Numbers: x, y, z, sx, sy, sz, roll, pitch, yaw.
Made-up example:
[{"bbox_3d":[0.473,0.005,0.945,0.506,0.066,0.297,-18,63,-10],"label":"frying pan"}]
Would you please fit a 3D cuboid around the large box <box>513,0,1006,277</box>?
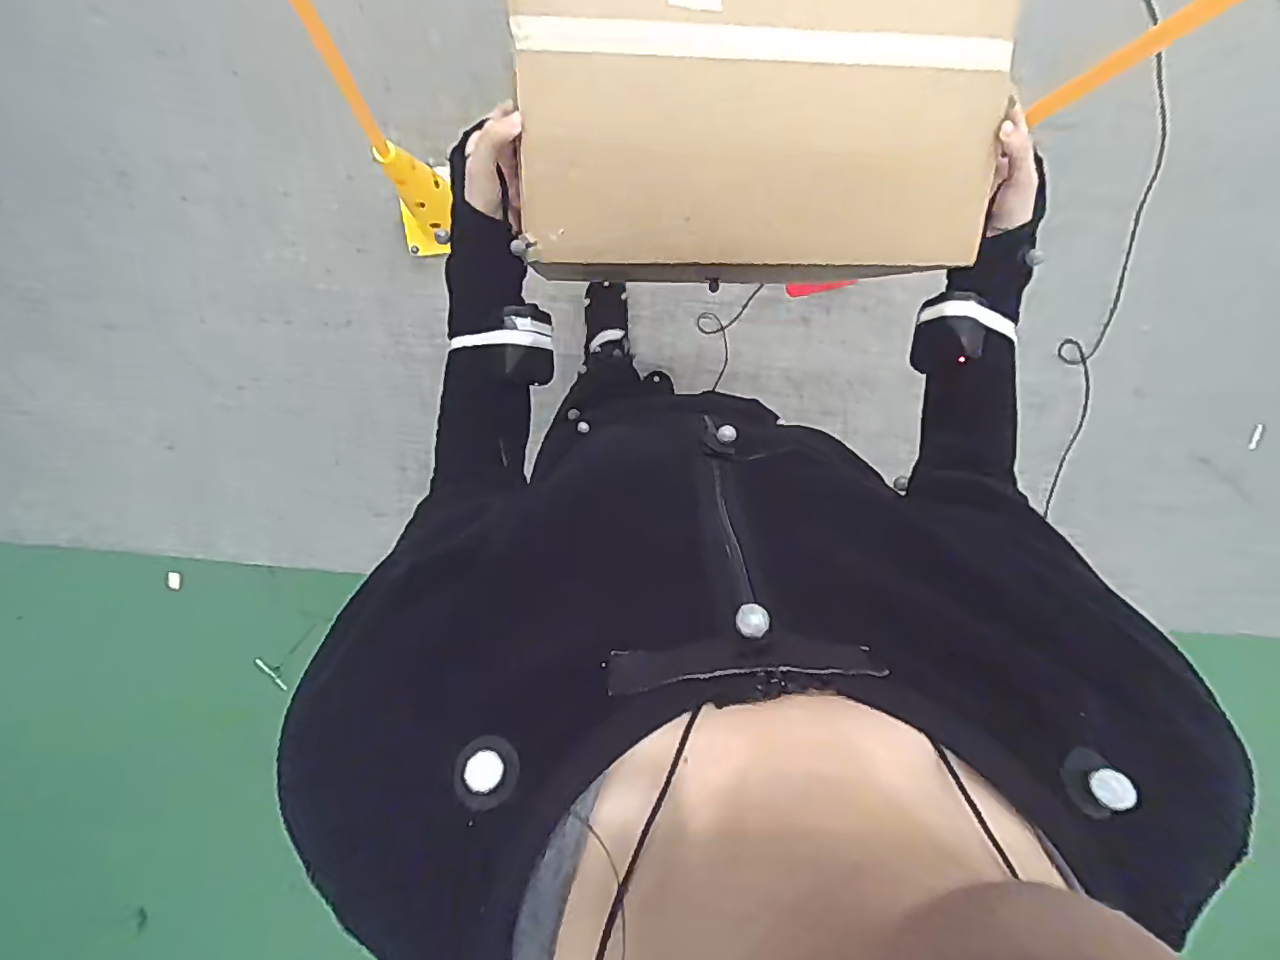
[{"bbox_3d":[0.088,-0.387,0.580,0.408,0.320,0.320,-2,107,-5],"label":"large box"}]
